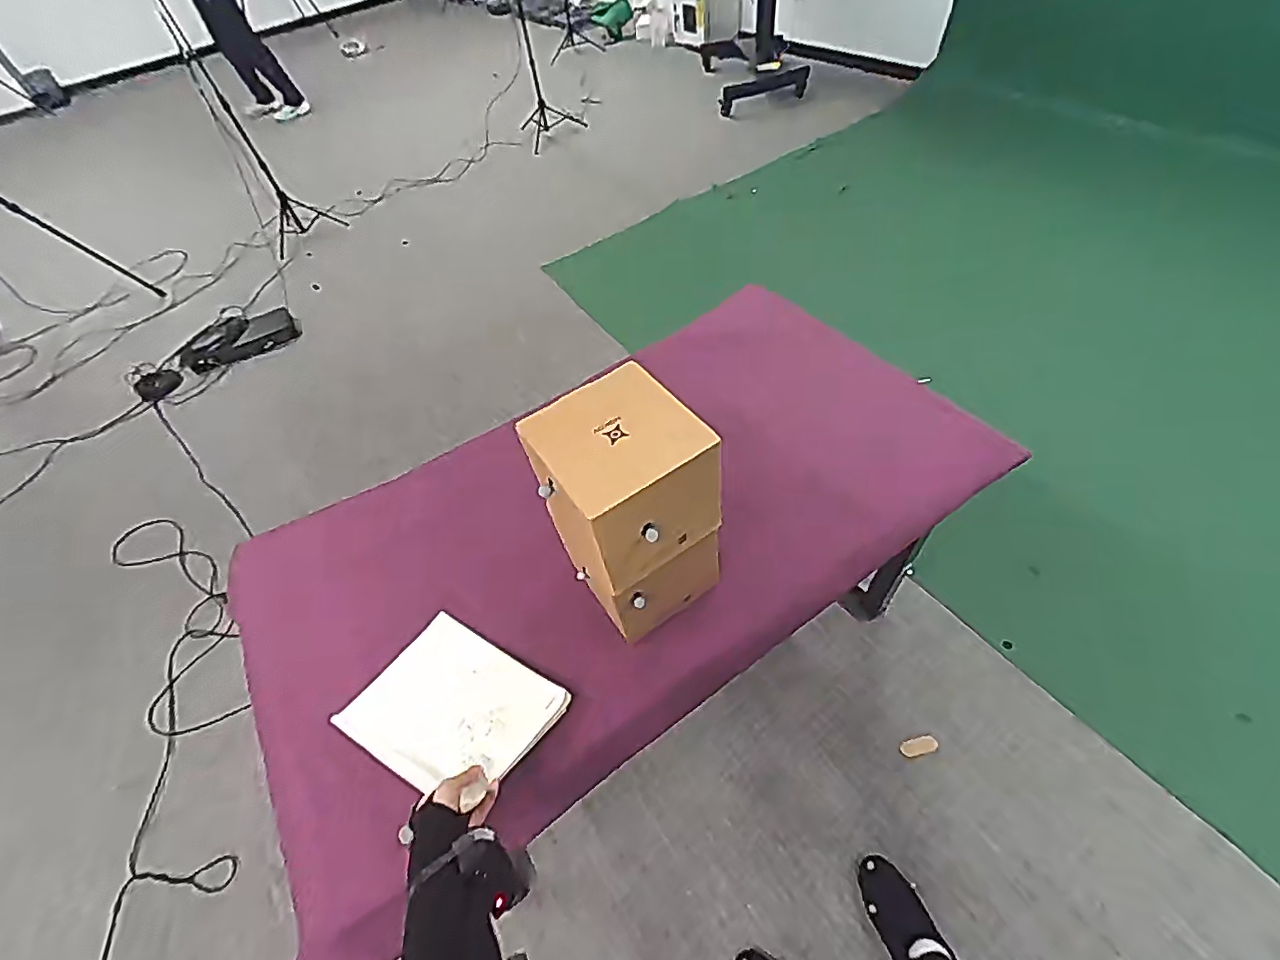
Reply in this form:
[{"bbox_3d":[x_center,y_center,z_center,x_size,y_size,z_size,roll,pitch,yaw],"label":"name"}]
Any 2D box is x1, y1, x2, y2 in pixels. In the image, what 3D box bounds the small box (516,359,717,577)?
[{"bbox_3d":[-0.019,-0.006,0.653,0.168,0.176,0.179,-31,53,-15],"label":"small box"}]
